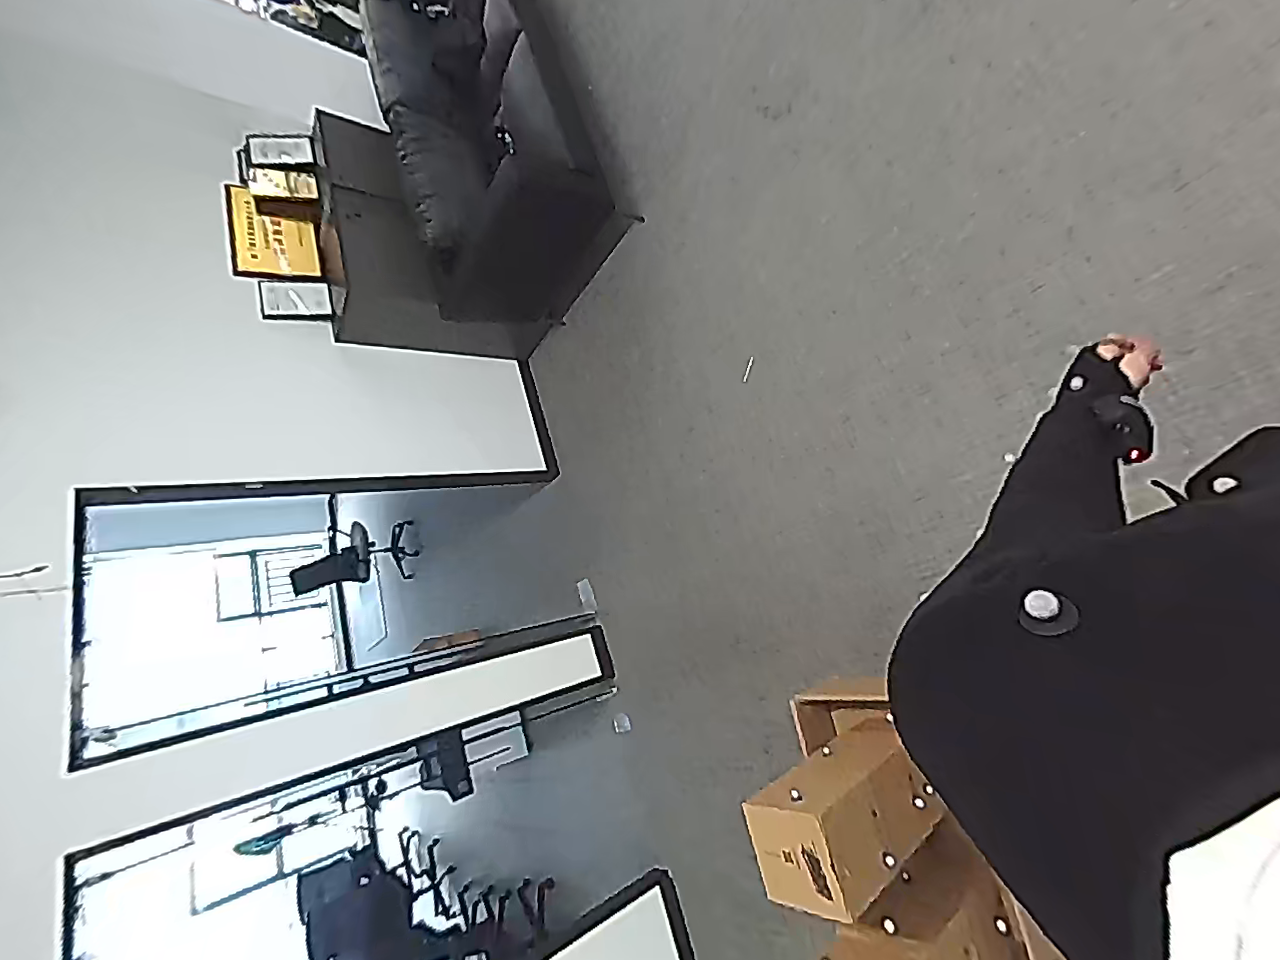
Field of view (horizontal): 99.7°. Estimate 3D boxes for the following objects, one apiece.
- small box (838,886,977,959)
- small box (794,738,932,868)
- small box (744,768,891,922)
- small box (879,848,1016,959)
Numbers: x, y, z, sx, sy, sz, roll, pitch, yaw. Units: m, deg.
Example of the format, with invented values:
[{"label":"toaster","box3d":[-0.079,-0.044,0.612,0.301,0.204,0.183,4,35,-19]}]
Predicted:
[{"label":"small box","box3d":[0.518,0.920,1.032,0.179,0.176,0.168,-25,74,48]},{"label":"small box","box3d":[0.449,0.637,1.092,0.179,0.176,0.168,-28,72,46]},{"label":"small box","box3d":[0.327,0.645,0.983,0.179,0.176,0.168,-30,71,48]},{"label":"small box","box3d":[0.642,0.909,1.133,0.179,0.176,0.168,-27,74,49]}]
